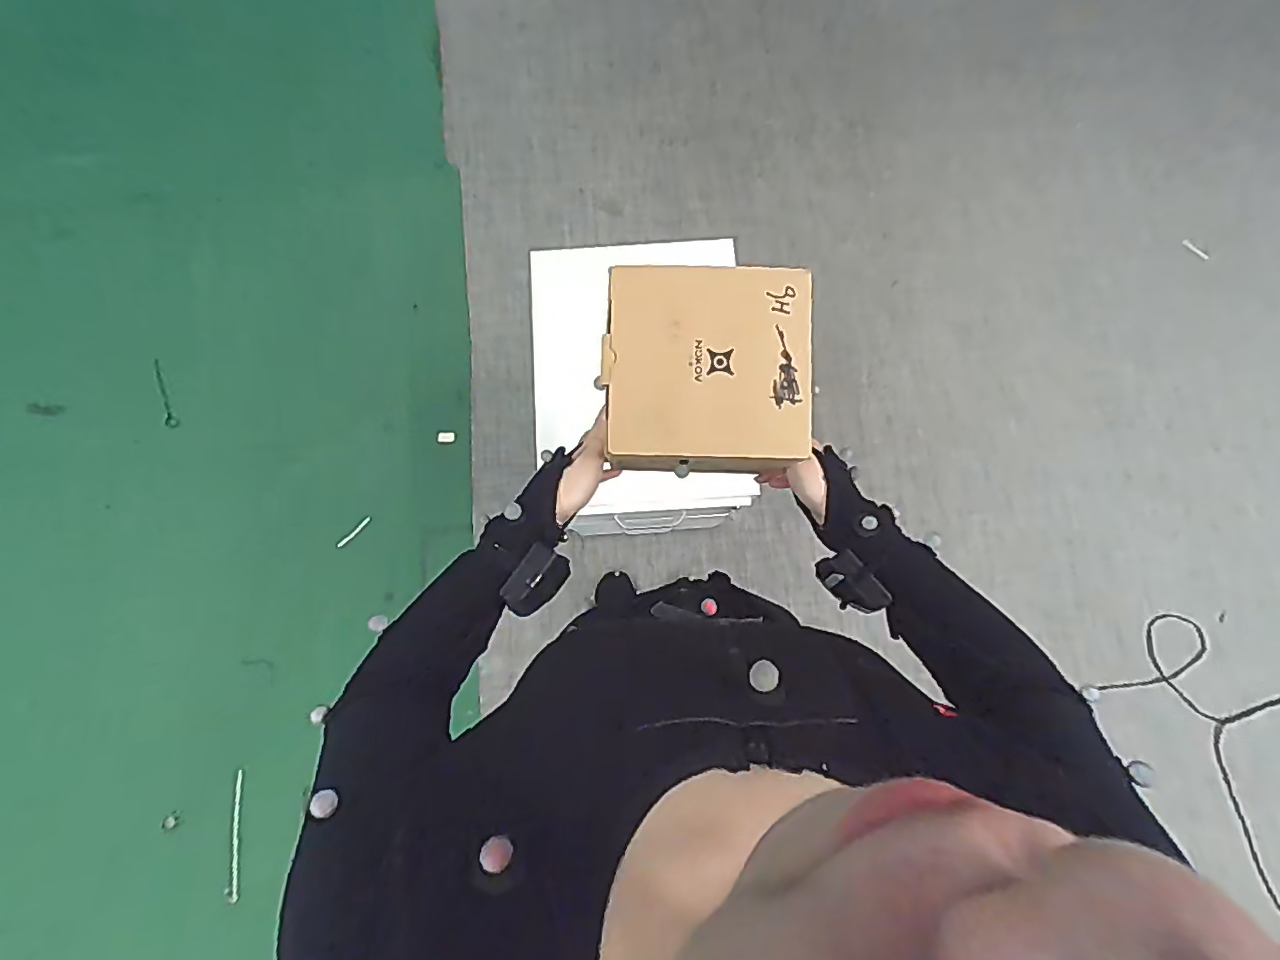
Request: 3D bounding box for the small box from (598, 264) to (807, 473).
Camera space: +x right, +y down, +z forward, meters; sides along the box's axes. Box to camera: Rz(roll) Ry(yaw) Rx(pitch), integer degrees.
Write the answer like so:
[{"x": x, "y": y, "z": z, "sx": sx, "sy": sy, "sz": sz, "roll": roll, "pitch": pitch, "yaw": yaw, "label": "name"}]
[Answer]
[{"x": 0.054, "y": -0.096, "z": 0.538, "sx": 0.179, "sy": 0.176, "sz": 0.168, "roll": 2, "pitch": 86, "yaw": 0, "label": "small box"}]
